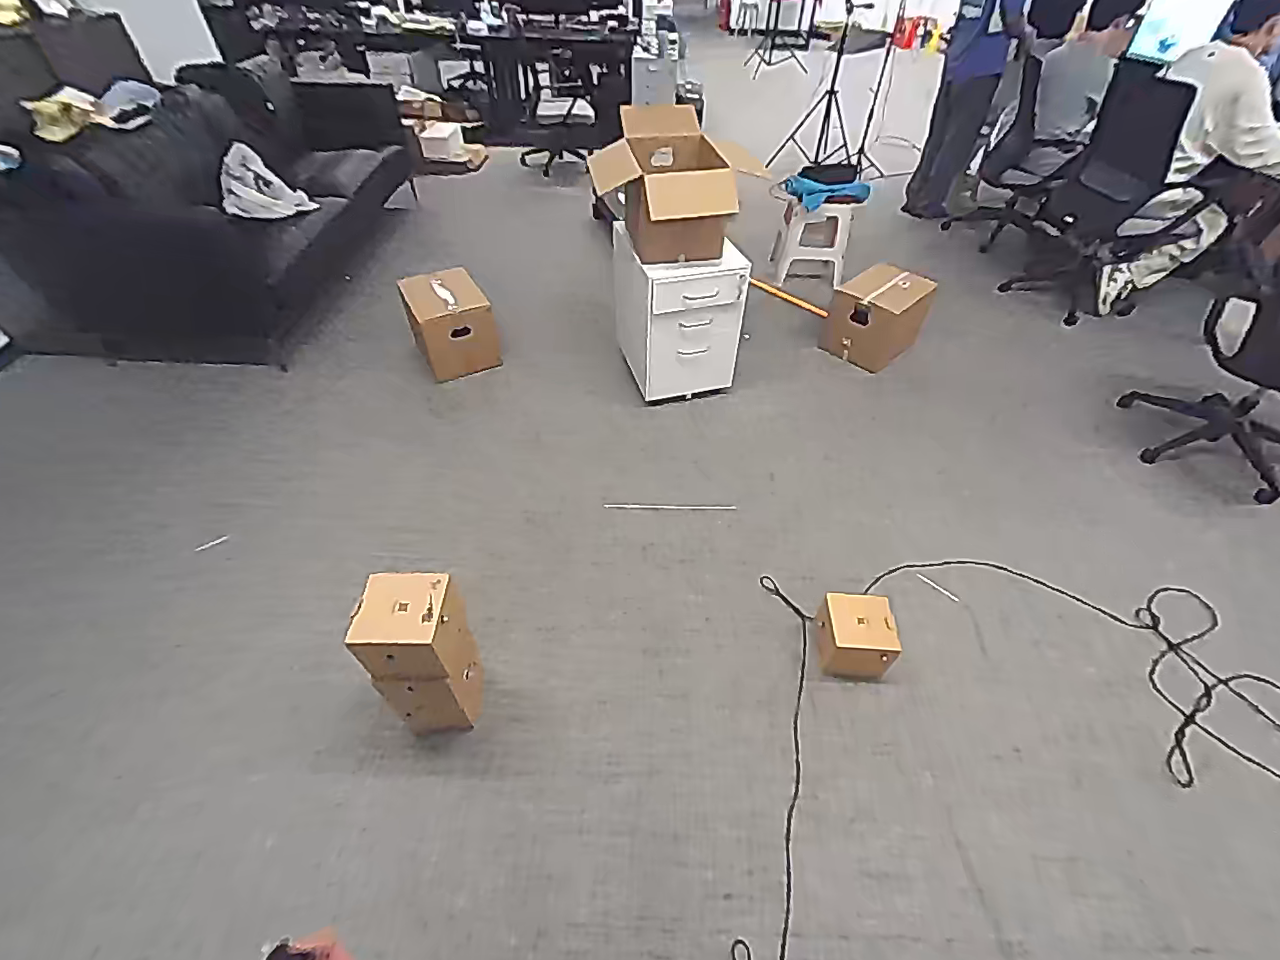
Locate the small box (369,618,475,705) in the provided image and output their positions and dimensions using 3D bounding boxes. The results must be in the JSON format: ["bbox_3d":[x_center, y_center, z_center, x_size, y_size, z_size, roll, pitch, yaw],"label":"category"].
[{"bbox_3d":[-0.512,0.431,1.299,0.179,0.176,0.168,1,47,-2],"label":"small box"}]

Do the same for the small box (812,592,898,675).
[{"bbox_3d":[0.598,0.438,1.534,0.179,0.176,0.168,4,47,1],"label":"small box"}]

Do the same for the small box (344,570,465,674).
[{"bbox_3d":[-0.503,0.313,1.184,0.179,0.176,0.168,0,47,-1],"label":"small box"}]
